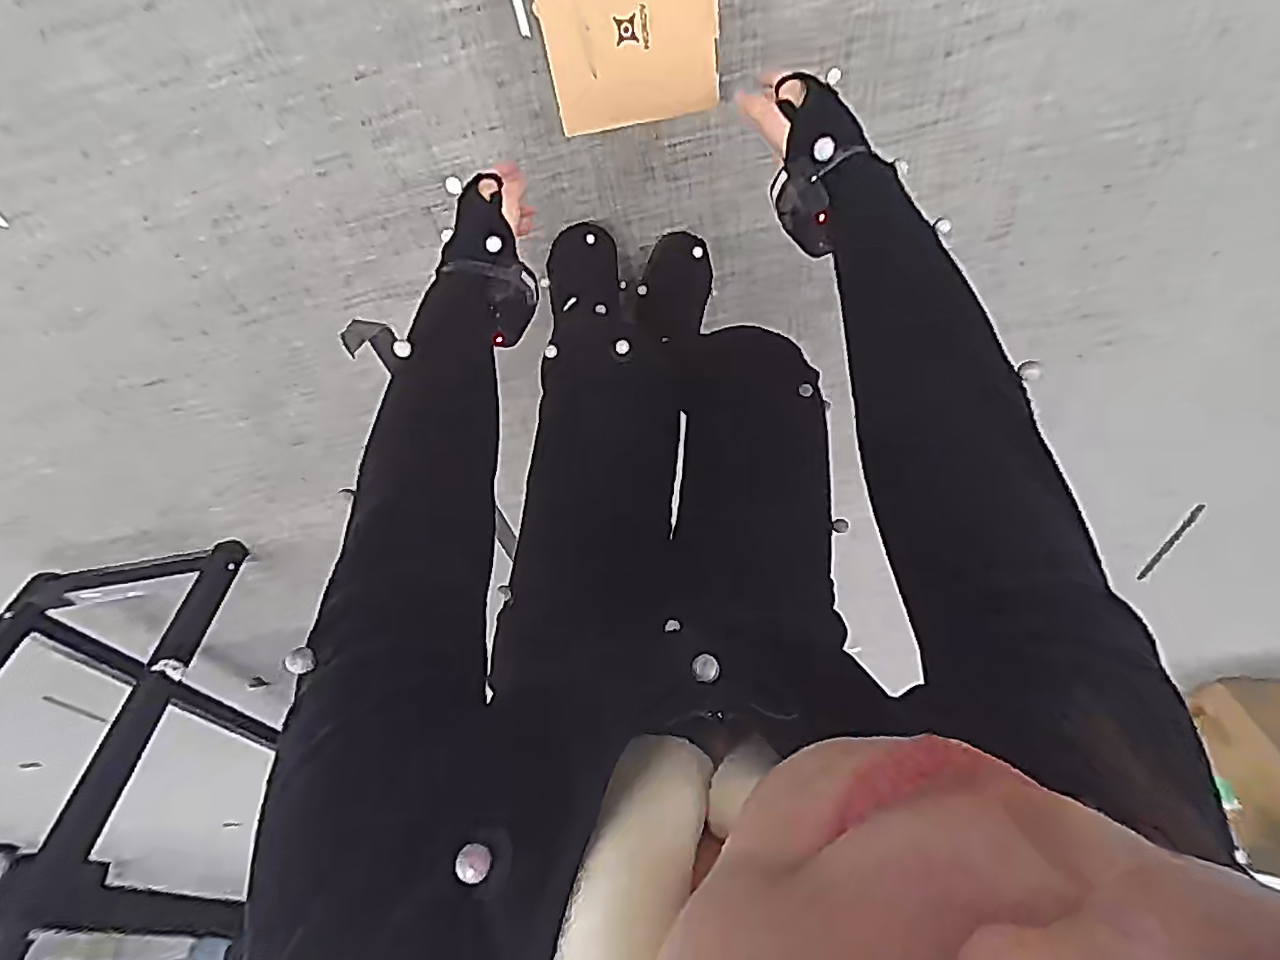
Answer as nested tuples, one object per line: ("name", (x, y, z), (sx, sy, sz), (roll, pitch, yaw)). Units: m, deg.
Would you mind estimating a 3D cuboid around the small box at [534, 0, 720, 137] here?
("small box", (-0.016, -0.500, 0.583), (0.179, 0.176, 0.168), (-8, 136, 4))
